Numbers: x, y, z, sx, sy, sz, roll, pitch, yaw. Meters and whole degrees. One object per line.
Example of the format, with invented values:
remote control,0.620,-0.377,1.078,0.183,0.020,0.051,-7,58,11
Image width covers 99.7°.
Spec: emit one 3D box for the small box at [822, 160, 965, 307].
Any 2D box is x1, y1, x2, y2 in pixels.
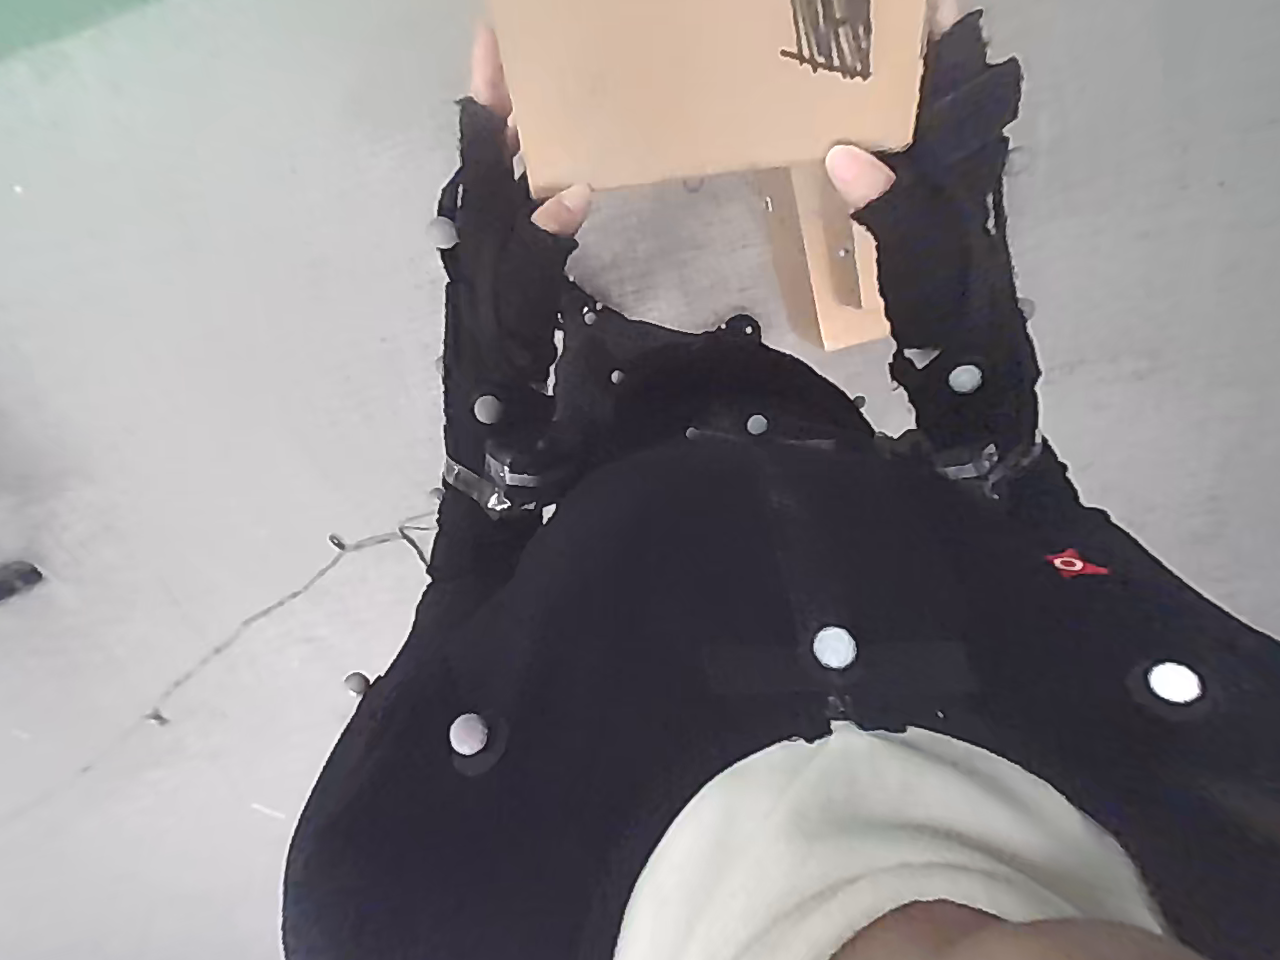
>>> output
small box,0.410,-0.398,0.893,0.168,0.176,0.179,-12,112,10
